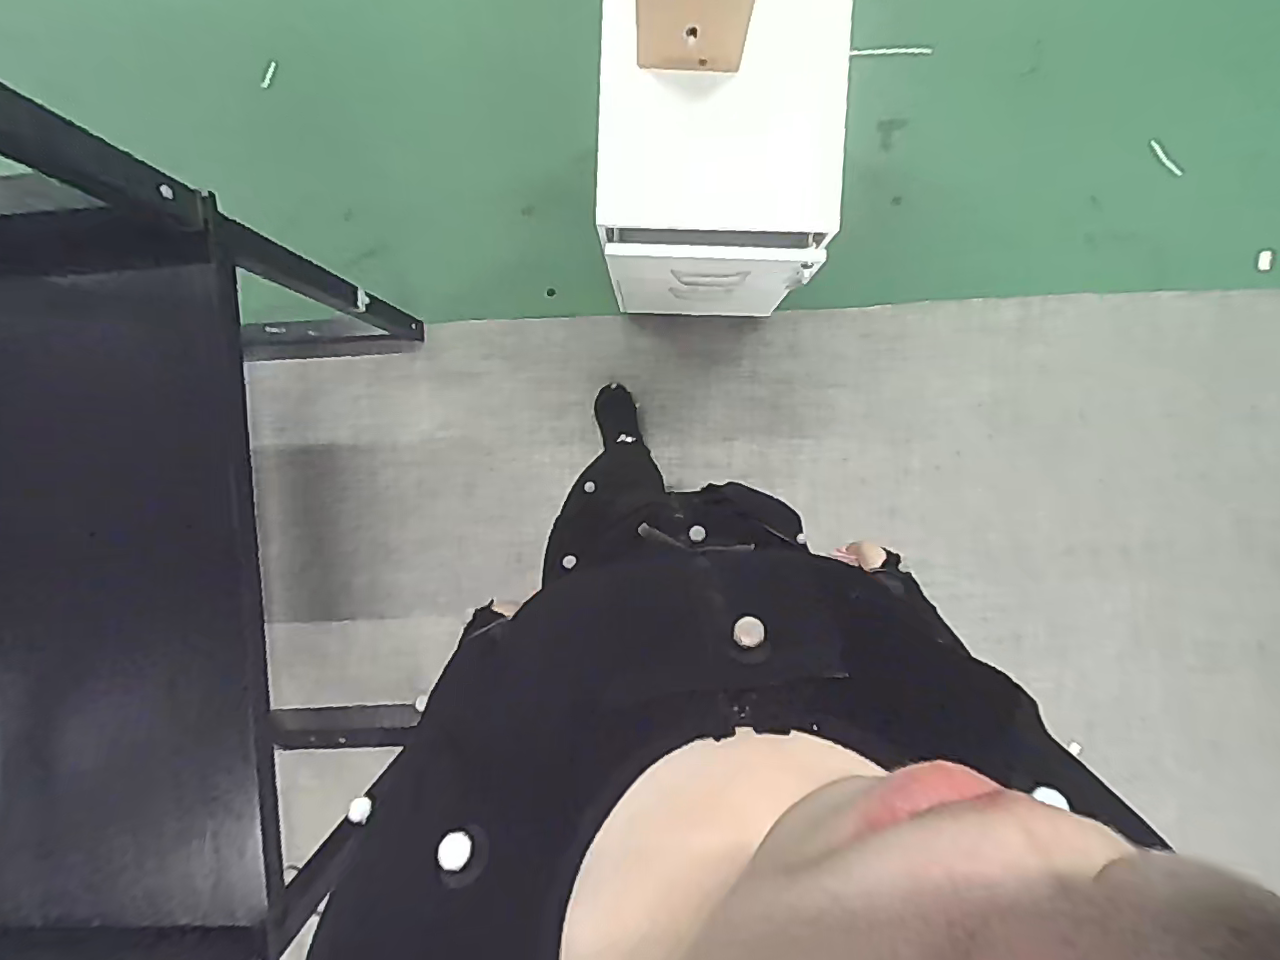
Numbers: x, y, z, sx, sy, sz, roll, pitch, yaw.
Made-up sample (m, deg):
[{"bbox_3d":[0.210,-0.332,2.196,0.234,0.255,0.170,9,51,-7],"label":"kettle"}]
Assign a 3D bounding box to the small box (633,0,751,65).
[{"bbox_3d":[0.077,-0.733,0.767,0.168,0.176,0.179,3,94,1],"label":"small box"}]
